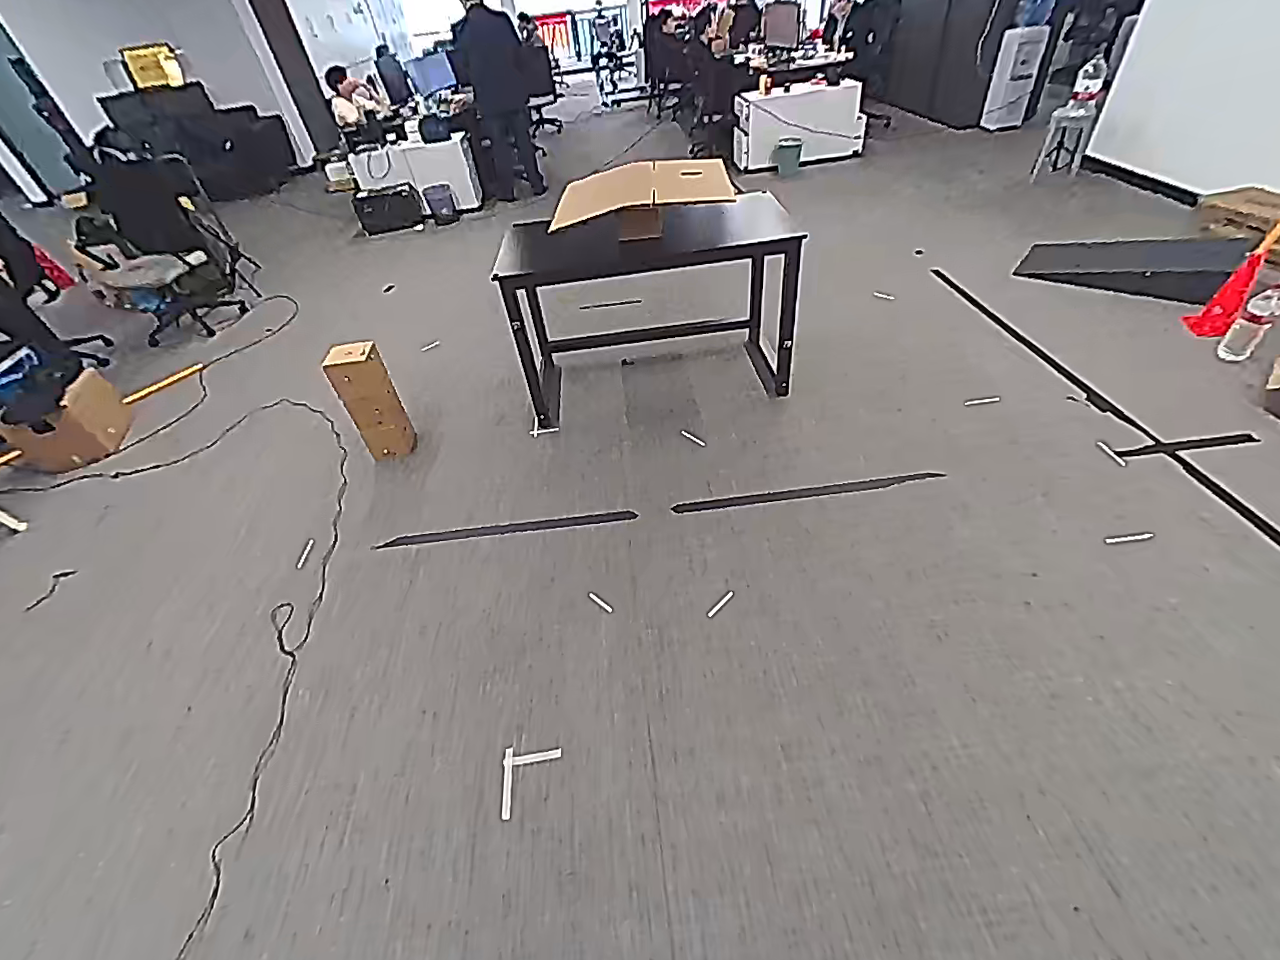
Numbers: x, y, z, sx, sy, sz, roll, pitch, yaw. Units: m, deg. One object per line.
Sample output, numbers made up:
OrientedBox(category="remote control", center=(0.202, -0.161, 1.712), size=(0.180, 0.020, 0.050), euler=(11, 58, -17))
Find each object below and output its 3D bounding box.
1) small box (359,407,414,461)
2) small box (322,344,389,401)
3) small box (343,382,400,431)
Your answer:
OrientedBox(category="small box", center=(-1.170, -0.211, 2.514), size=(0.168, 0.176, 0.179), euler=(-10, 43, -2))
OrientedBox(category="small box", center=(-1.202, -0.452, 2.297), size=(0.179, 0.176, 0.168), euler=(-10, 42, -2))
OrientedBox(category="small box", center=(-1.190, -0.333, 2.409), size=(0.168, 0.176, 0.179), euler=(-11, 41, -6))
